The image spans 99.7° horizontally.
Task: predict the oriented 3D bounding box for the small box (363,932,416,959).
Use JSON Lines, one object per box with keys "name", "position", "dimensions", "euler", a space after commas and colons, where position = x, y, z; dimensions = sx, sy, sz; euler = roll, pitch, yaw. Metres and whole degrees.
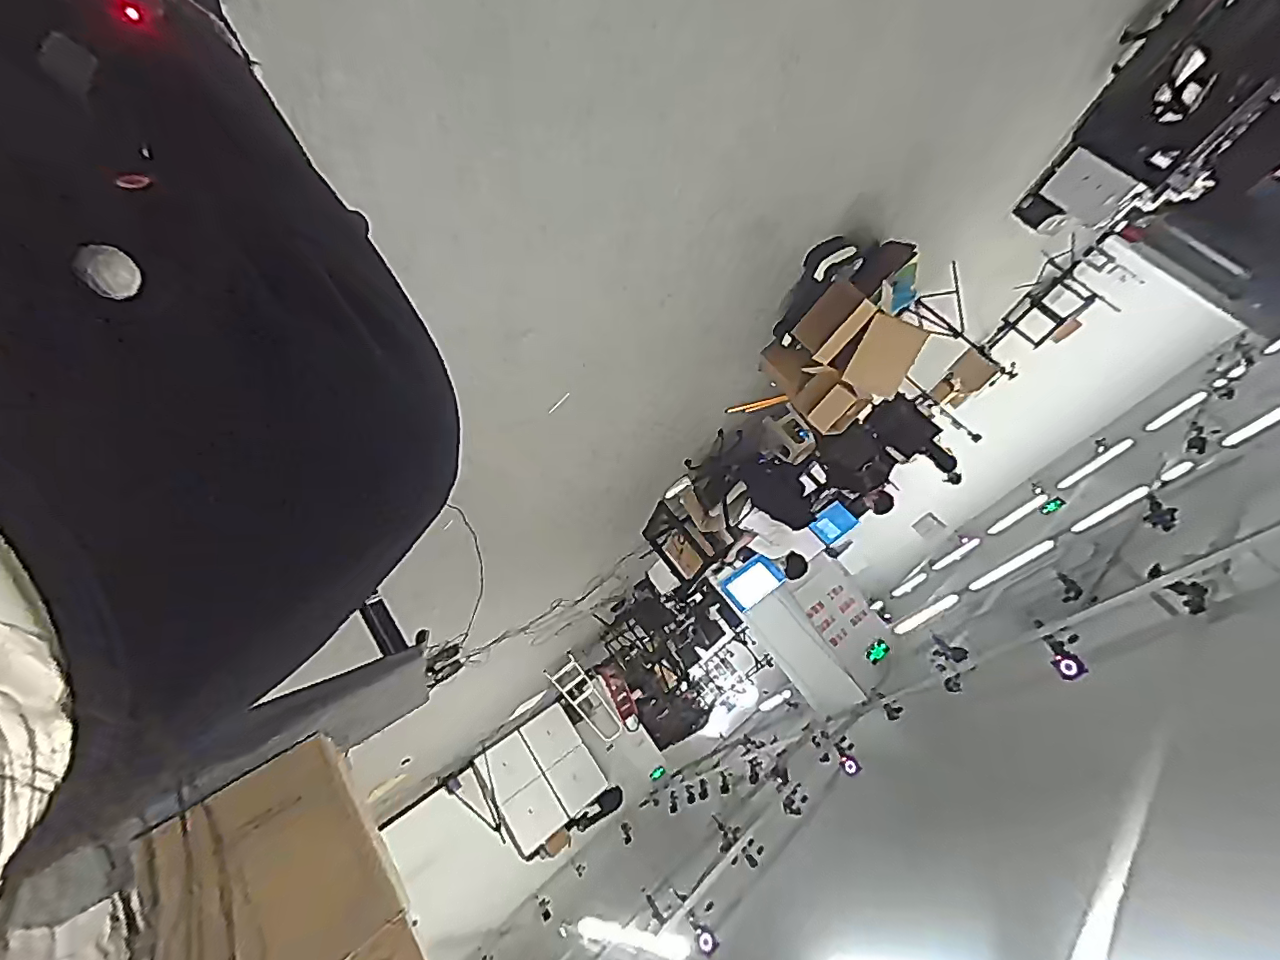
{"name": "small box", "position": [-0.748, 1.471, 1.584], "dimensions": [0.168, 0.176, 0.179], "euler": [-27, 154, -32]}
